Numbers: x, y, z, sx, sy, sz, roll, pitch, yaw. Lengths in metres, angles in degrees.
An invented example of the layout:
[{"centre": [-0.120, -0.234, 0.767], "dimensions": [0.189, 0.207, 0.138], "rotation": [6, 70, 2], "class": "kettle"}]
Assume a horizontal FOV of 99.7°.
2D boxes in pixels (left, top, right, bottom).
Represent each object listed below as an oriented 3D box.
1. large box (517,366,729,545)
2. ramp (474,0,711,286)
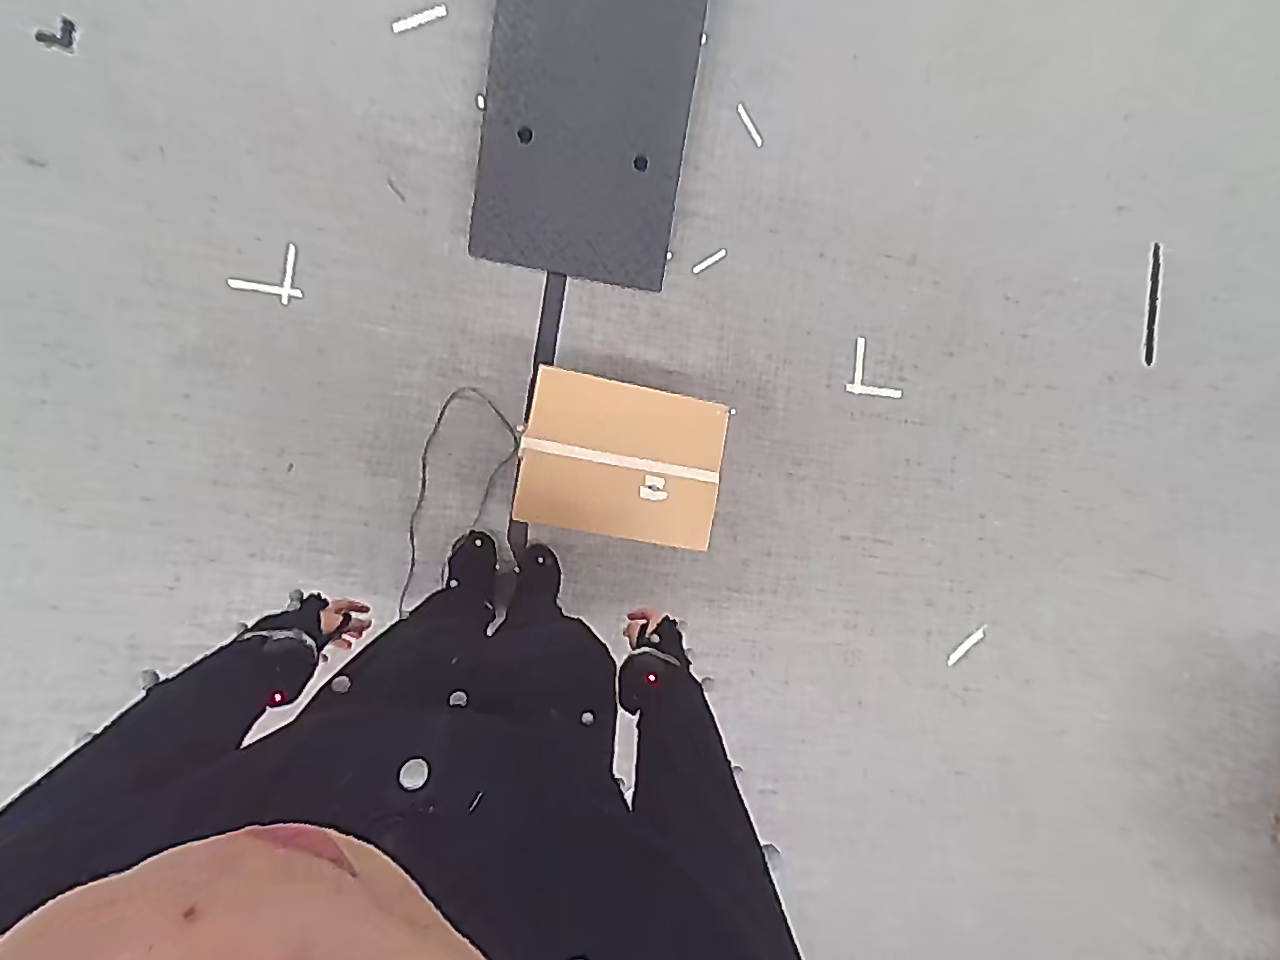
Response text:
[{"centre": [-0.058, -0.041, 1.239], "dimensions": [0.408, 0.320, 0.320], "rotation": [11, 87, -11], "class": "large box"}, {"centre": [-0.093, -1.020, 1.300], "dimensions": [0.509, 0.206, 0.991], "rotation": [6, 89, -11], "class": "ramp"}]
